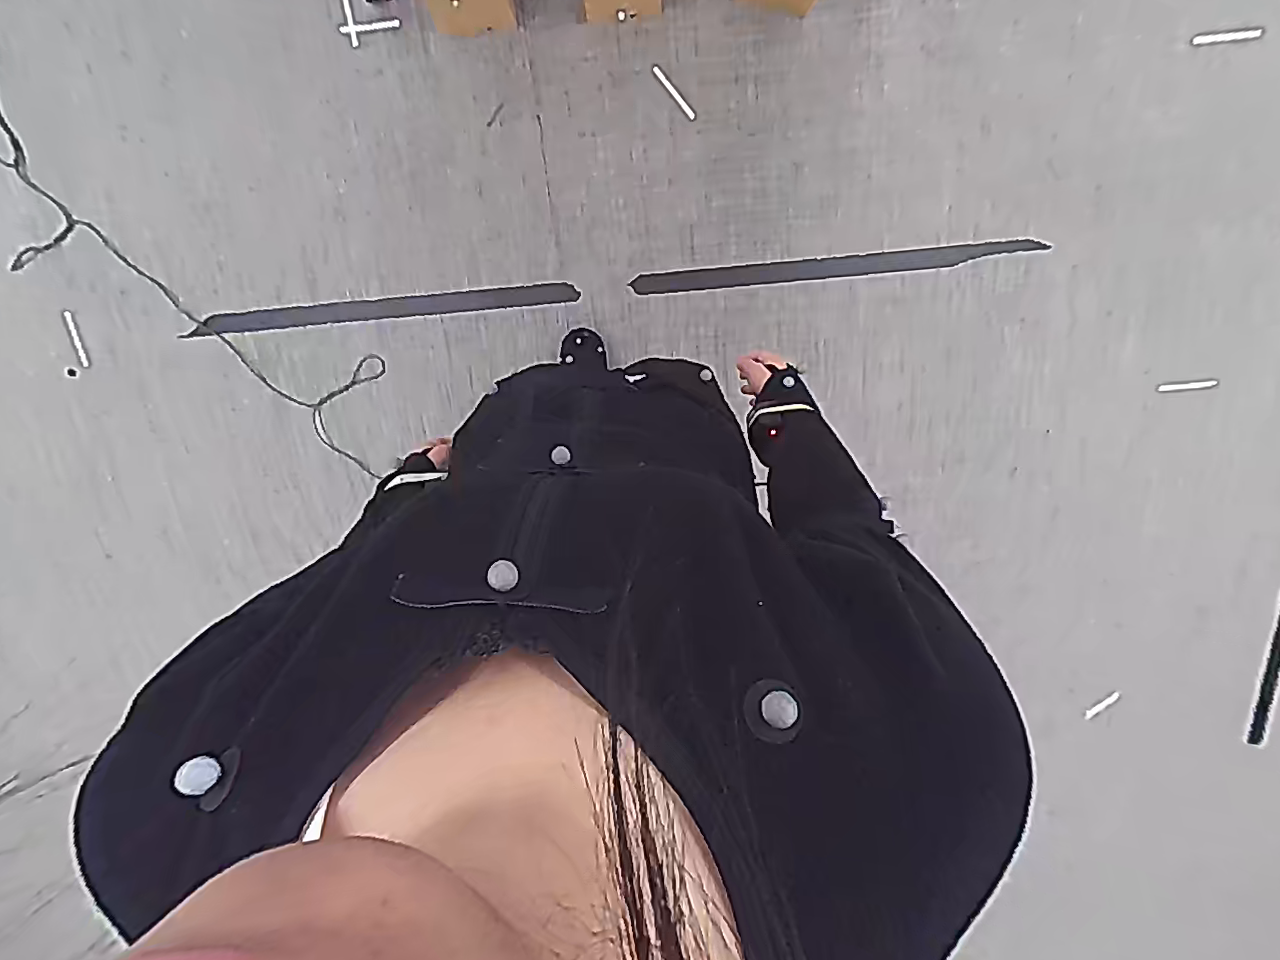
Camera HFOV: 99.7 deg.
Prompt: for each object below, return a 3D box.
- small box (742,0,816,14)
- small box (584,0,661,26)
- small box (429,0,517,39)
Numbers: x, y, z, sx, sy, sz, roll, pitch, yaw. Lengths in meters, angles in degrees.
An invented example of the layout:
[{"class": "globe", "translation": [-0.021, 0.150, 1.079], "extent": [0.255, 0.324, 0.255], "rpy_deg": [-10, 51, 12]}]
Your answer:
[{"class": "small box", "translation": [0.313, -1.112, 1.114], "extent": [0.179, 0.176, 0.168], "rpy_deg": [11, 106, -2]}, {"class": "small box", "translation": [-0.044, -1.089, 1.115], "extent": [0.168, 0.176, 0.179], "rpy_deg": [-6, 107, 2]}, {"class": "small box", "translation": [-0.359, -1.064, 1.120], "extent": [0.168, 0.176, 0.179], "rpy_deg": [-4, 104, 0]}]
